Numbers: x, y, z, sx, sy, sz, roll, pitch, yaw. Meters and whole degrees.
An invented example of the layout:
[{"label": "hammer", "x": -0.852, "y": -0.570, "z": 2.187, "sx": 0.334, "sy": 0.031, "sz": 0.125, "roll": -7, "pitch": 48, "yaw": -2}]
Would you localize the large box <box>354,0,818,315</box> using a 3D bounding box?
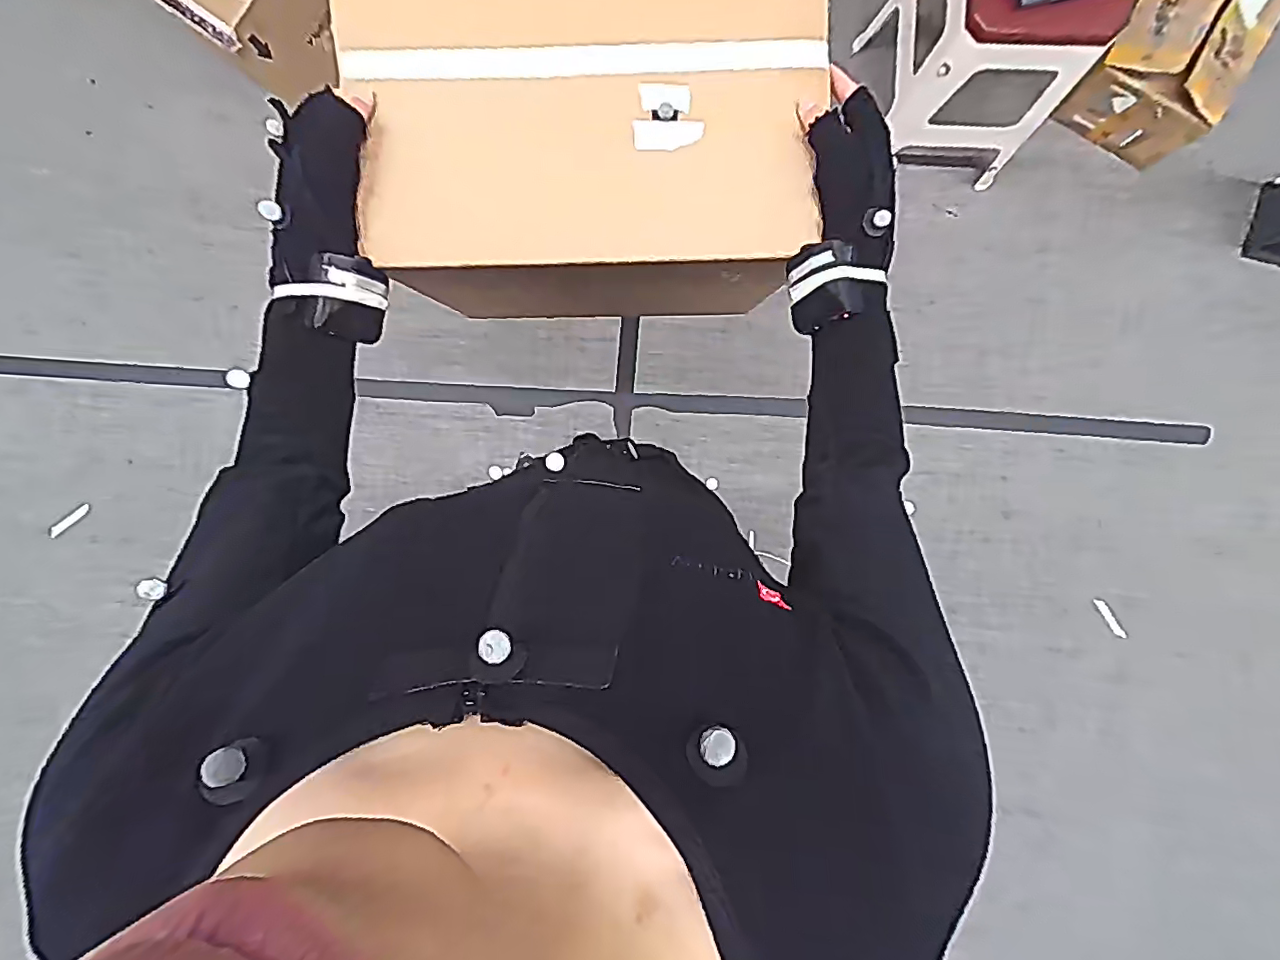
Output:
[{"label": "large box", "x": -0.048, "y": -0.376, "z": 0.616, "sx": 0.408, "sy": 0.320, "sz": 0.320, "roll": -2, "pitch": 99, "yaw": -1}]
